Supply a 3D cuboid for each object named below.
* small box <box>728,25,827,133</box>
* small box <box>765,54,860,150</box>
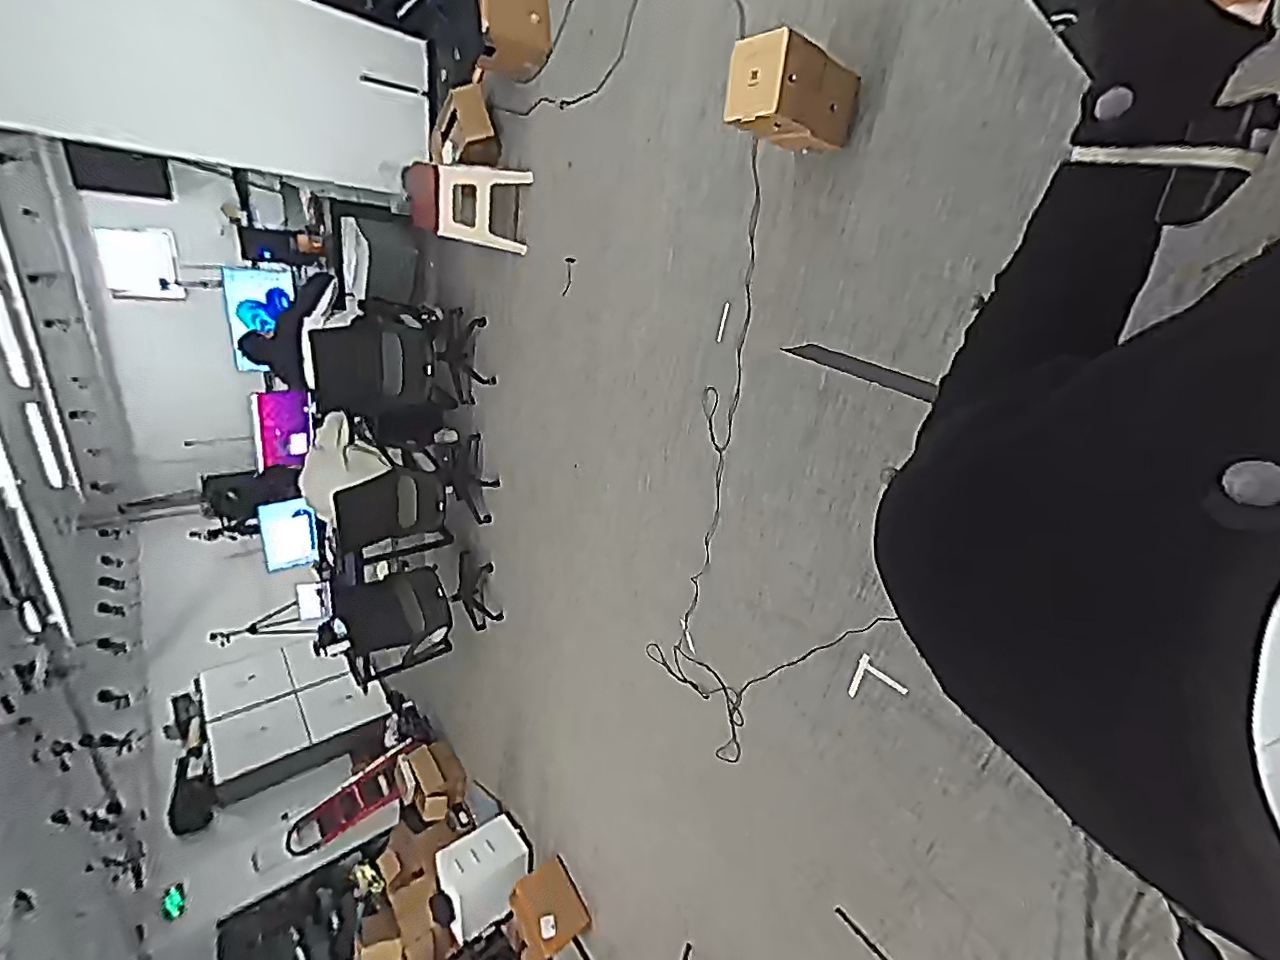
[{"bbox_3d":[0.349,-1.001,1.371,0.168,0.176,0.179,26,117,43],"label":"small box"},{"bbox_3d":[0.473,-1.020,1.475,0.168,0.176,0.179,31,122,42],"label":"small box"}]
